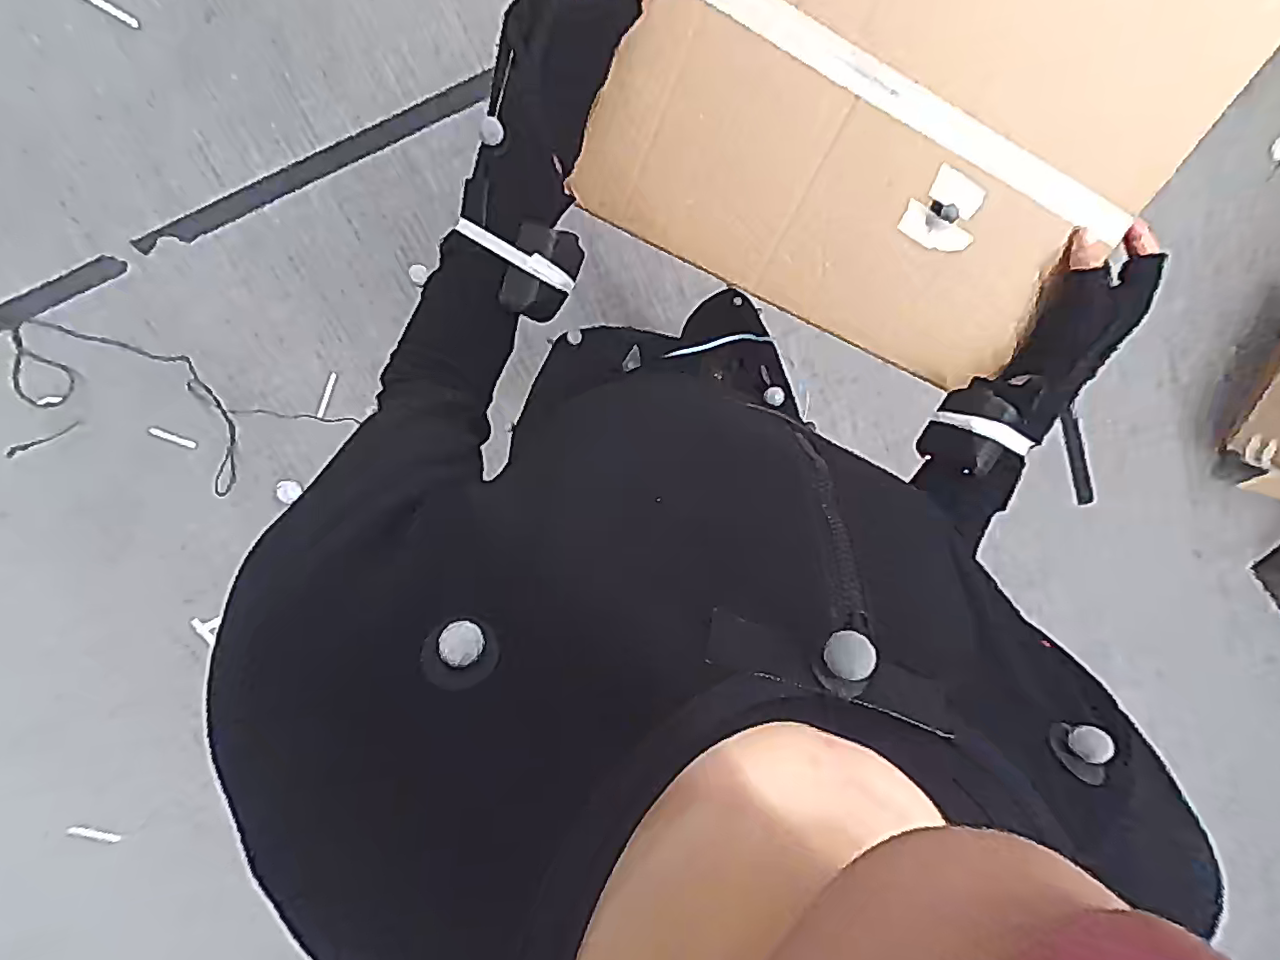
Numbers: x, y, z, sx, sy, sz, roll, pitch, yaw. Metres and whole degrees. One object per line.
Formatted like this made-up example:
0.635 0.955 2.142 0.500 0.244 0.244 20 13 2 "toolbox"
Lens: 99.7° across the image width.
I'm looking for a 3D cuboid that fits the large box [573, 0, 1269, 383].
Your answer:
0.183 -0.351 0.520 0.408 0.320 0.320 21 120 -13 "large box"
